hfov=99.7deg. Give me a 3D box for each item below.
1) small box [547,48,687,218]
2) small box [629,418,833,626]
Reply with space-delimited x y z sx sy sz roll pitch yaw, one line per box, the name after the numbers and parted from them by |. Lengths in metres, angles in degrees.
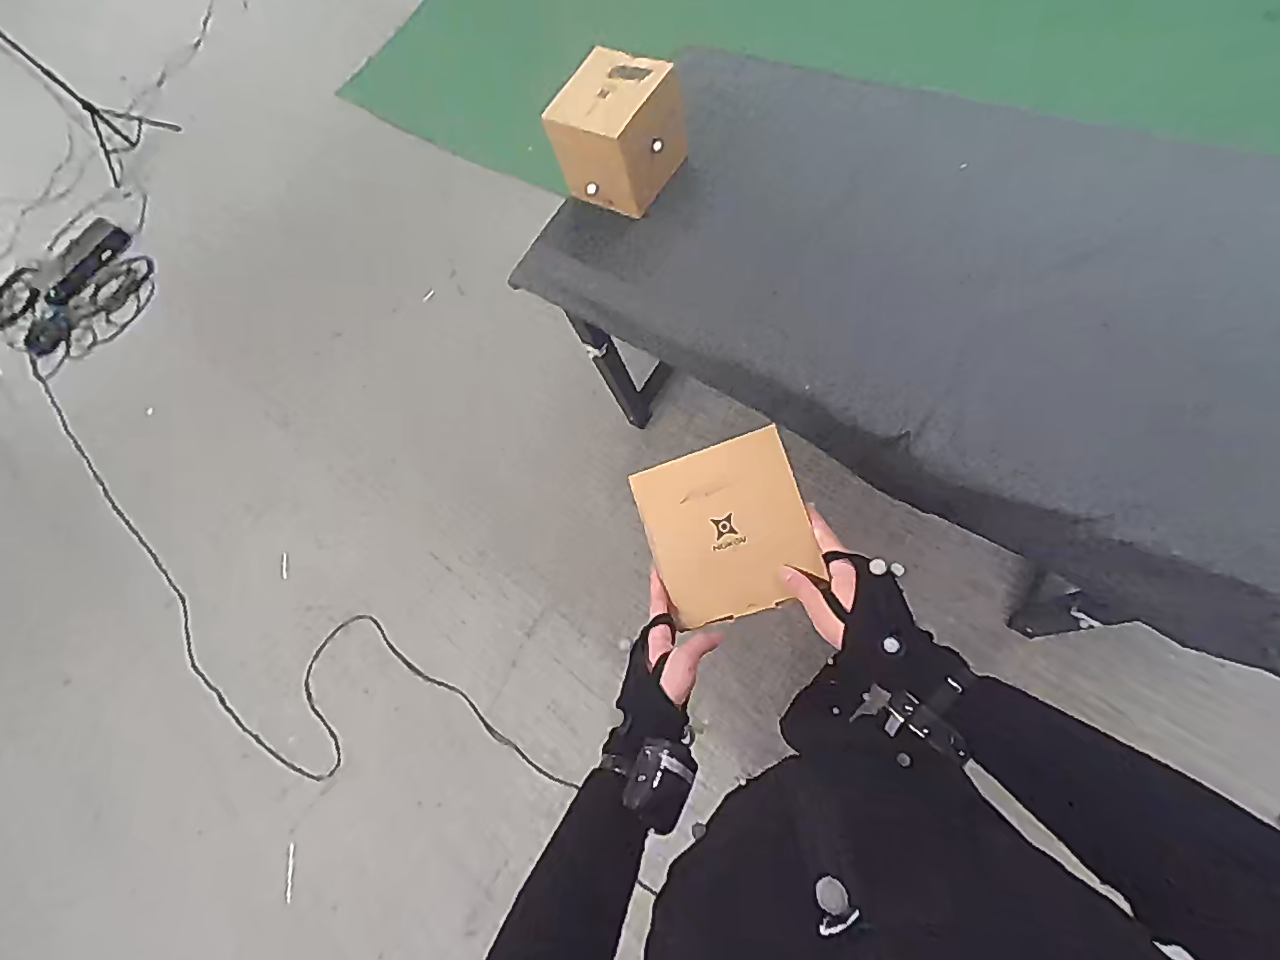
-0.030 -0.613 0.966 0.168 0.176 0.179 30 79 22 | small box
0.106 0.049 0.622 0.168 0.176 0.179 -20 80 11 | small box
